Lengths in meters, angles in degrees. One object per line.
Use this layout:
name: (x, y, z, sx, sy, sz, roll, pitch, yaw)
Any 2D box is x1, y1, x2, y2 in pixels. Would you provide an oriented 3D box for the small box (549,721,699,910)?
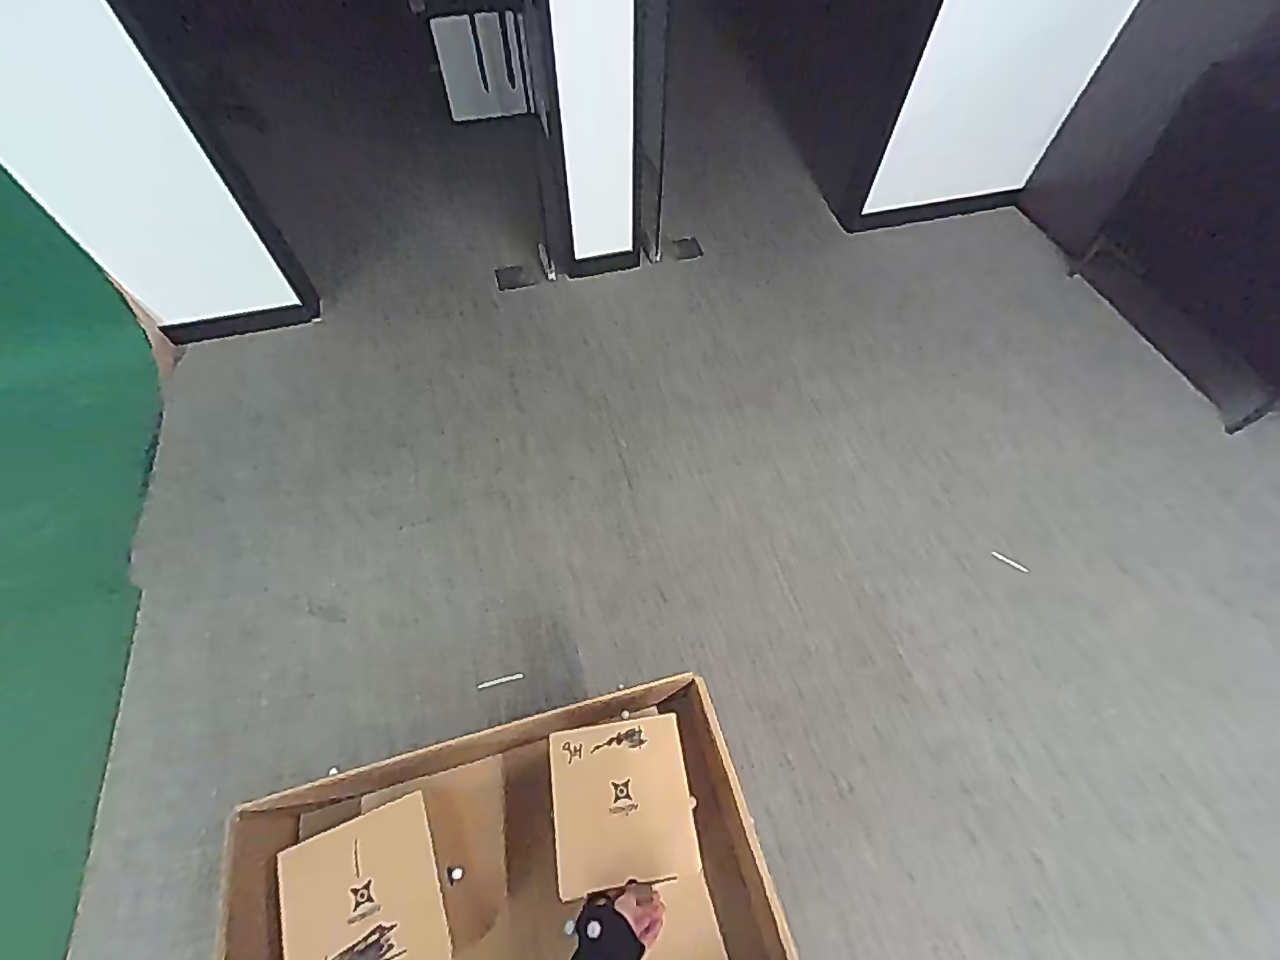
small box: (-0.024, 0.432, 0.715, 0.168, 0.176, 0.179, -7, 59, -5)
